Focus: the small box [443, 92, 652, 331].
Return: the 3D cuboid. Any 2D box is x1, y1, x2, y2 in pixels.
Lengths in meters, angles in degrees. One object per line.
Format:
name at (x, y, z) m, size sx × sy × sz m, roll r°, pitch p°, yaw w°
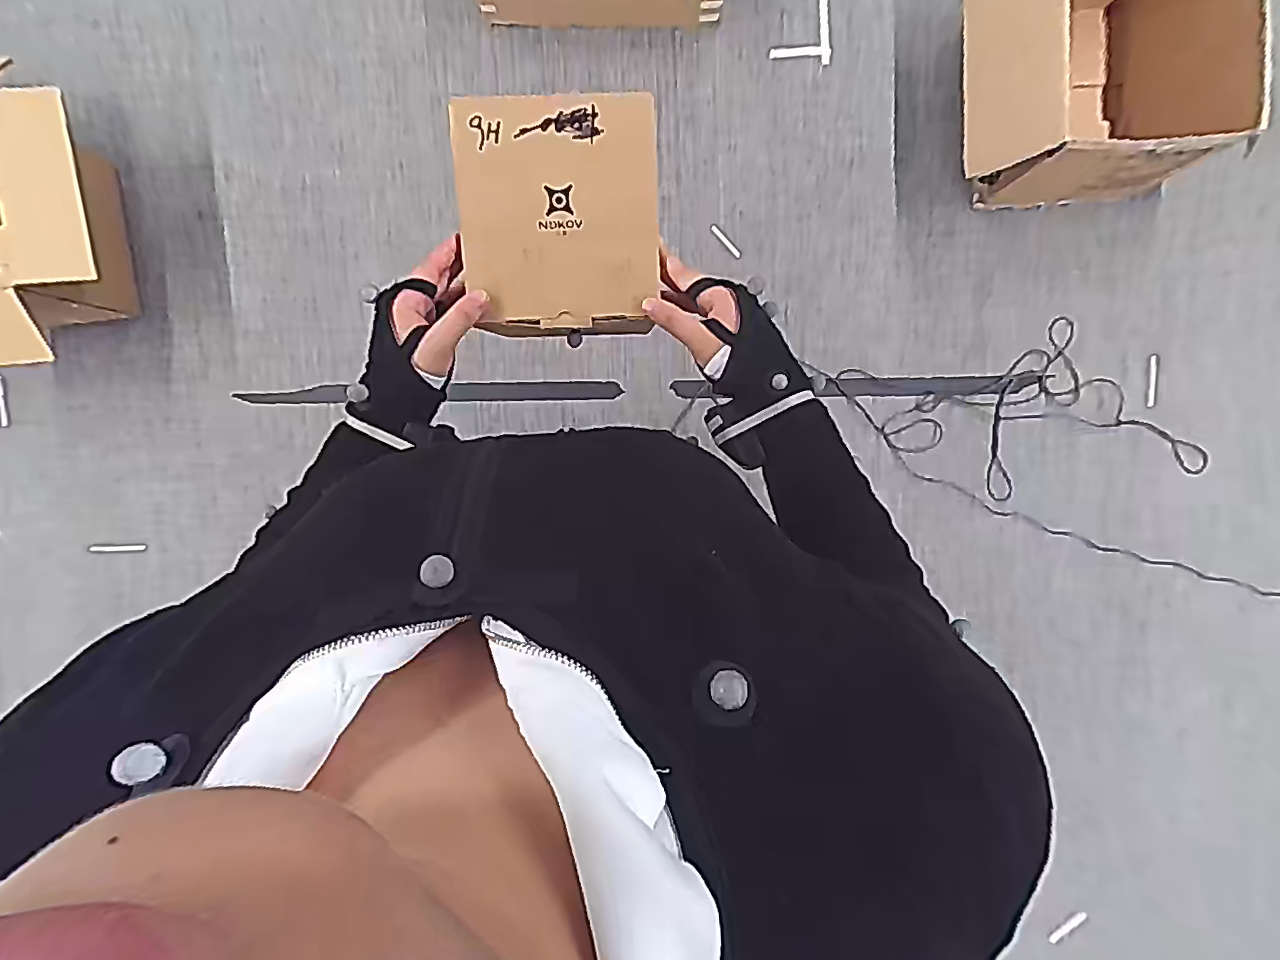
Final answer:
small box at (-0.074, -0.237, 0.522) m, size 0.168 × 0.176 × 0.179 m, roll -2°, pitch 102°, yaw -2°
